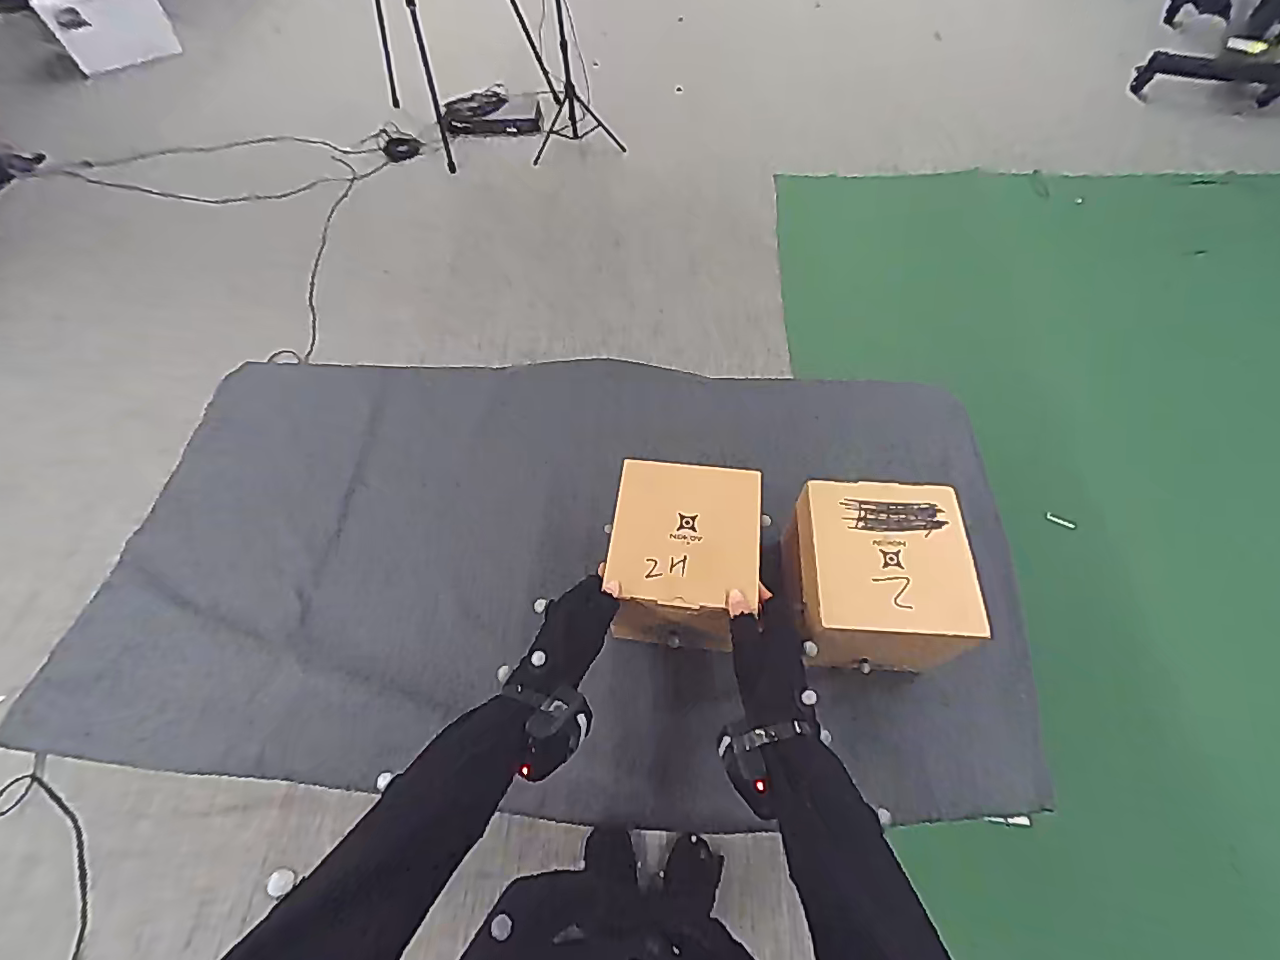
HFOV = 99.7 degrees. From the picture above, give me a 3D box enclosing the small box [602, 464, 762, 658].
[{"bbox_3d":[0.053,0.104,0.673,0.168,0.176,0.179,6,59,6],"label":"small box"}]
